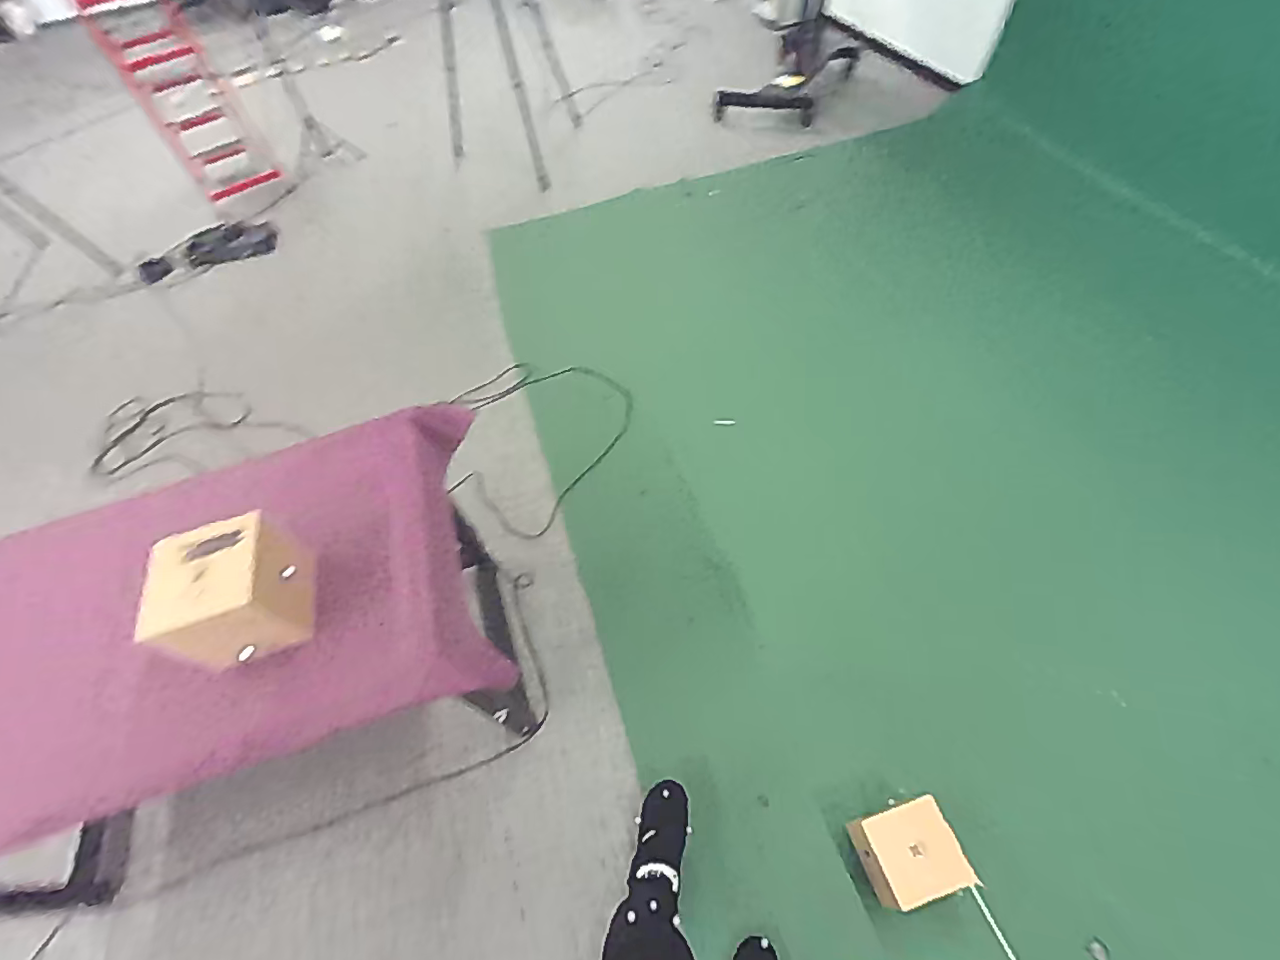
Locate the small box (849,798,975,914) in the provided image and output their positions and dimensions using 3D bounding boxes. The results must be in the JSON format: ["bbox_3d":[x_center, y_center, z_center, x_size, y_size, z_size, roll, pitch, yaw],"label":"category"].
[{"bbox_3d":[0.588,0.836,1.203,0.179,0.176,0.168,-16,55,-7],"label":"small box"}]
